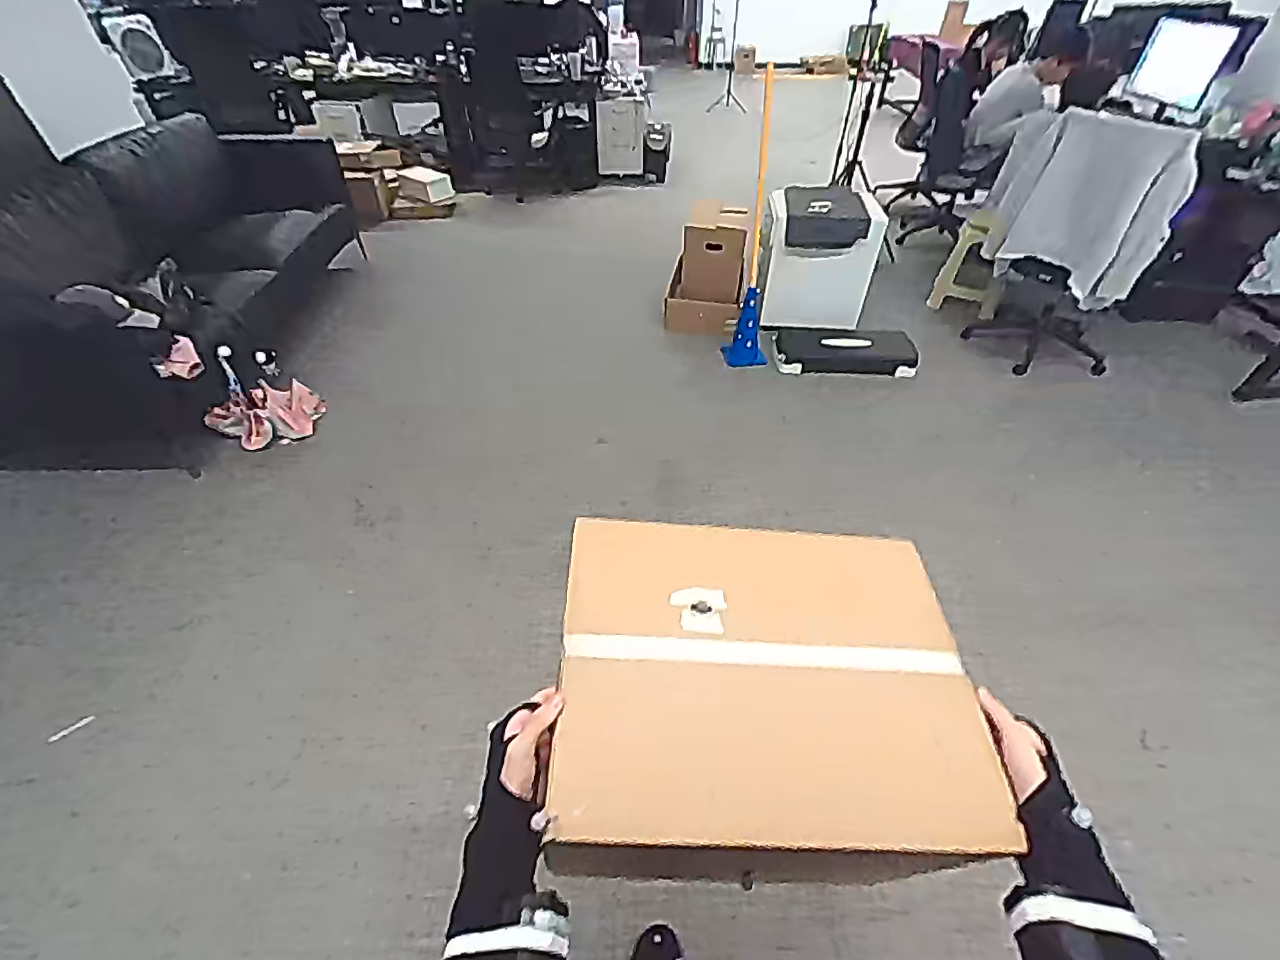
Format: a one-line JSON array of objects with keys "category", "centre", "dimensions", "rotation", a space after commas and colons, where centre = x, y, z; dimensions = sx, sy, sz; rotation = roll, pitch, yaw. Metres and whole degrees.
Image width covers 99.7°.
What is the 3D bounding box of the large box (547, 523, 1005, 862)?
[{"category": "large box", "centre": [0.110, 0.271, 0.661], "dimensions": [0.408, 0.320, 0.320], "rotation": [3, 49, -3]}]
